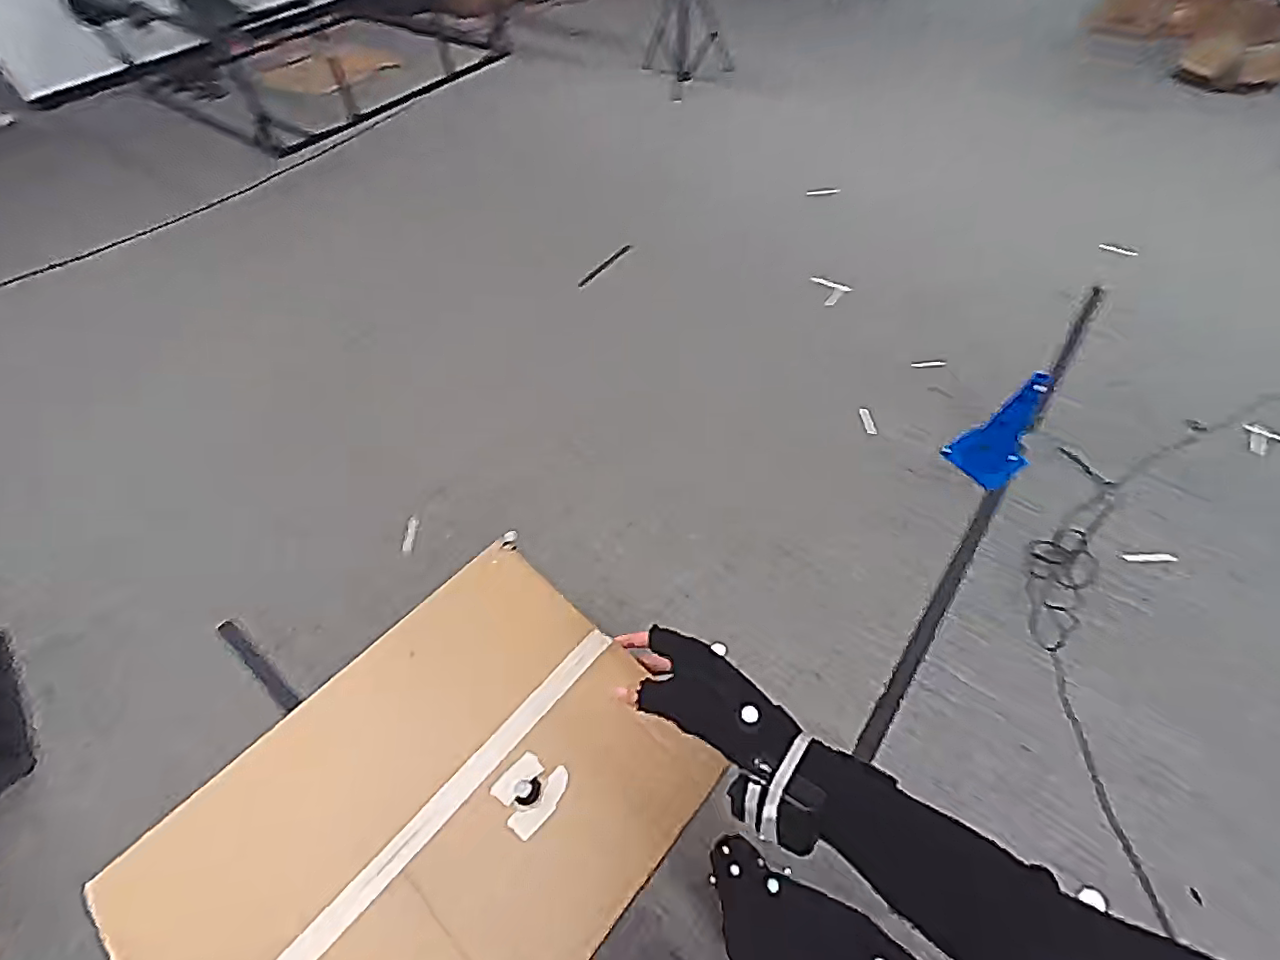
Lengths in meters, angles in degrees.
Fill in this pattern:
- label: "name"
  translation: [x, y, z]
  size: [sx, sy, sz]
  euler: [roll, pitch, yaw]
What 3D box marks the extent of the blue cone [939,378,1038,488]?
- label: "blue cone"
  translation: [1.107, -0.168, 1.649]
  size: [0.192, 0.380, 0.193]
  euler: [-29, 56, -15]
